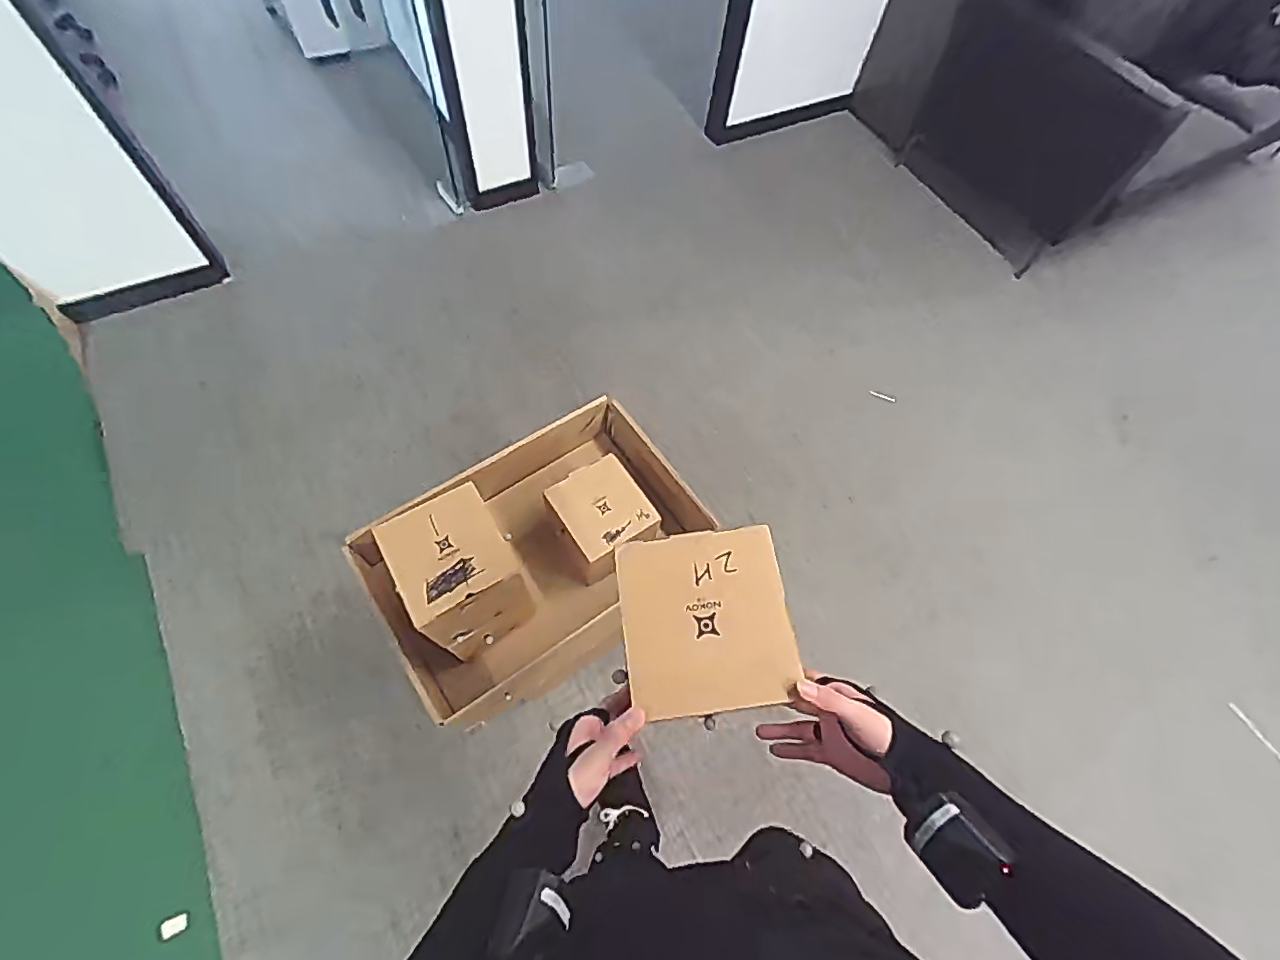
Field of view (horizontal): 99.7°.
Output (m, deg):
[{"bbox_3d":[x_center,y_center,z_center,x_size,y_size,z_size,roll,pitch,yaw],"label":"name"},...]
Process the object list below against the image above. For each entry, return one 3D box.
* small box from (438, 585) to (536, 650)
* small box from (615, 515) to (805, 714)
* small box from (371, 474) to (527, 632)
[{"bbox_3d":[-0.311,0.200,1.014,0.168,0.176,0.179,-31,70,-19],"label":"small box"},{"bbox_3d":[0.065,0.154,0.595,0.168,0.176,0.179,-6,66,-2],"label":"small box"},{"bbox_3d":[-0.294,0.126,0.868,0.168,0.176,0.179,-27,69,-18],"label":"small box"}]
